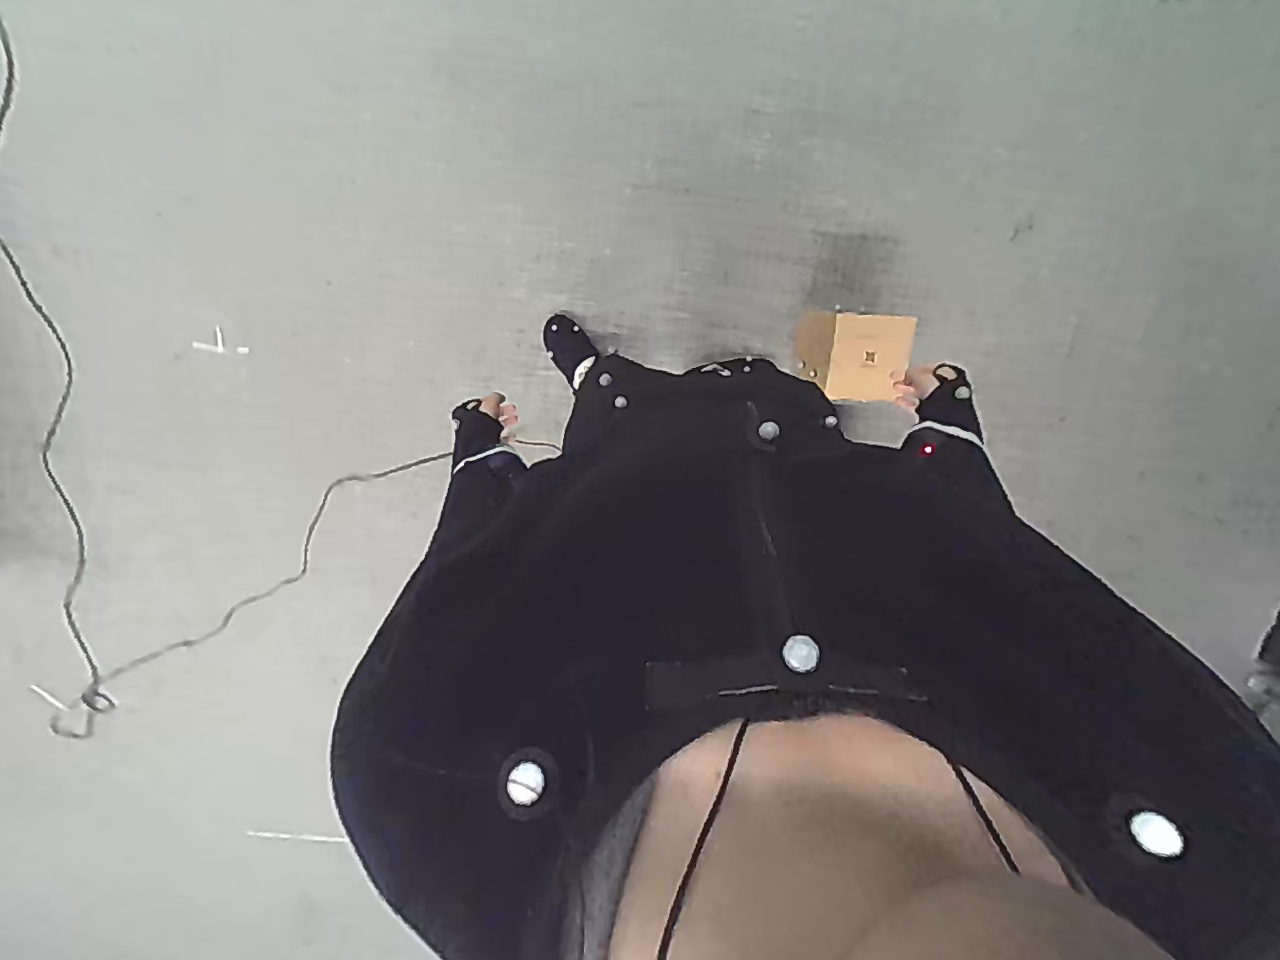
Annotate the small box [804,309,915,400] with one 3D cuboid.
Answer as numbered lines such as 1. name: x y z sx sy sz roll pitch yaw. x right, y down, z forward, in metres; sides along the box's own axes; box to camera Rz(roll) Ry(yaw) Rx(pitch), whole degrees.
1. small box: 0.471 -0.280 1.191 0.168 0.176 0.179 3 107 -1

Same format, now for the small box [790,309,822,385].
1. small box: 0.482 -0.330 1.346 0.168 0.176 0.179 3 107 -1
